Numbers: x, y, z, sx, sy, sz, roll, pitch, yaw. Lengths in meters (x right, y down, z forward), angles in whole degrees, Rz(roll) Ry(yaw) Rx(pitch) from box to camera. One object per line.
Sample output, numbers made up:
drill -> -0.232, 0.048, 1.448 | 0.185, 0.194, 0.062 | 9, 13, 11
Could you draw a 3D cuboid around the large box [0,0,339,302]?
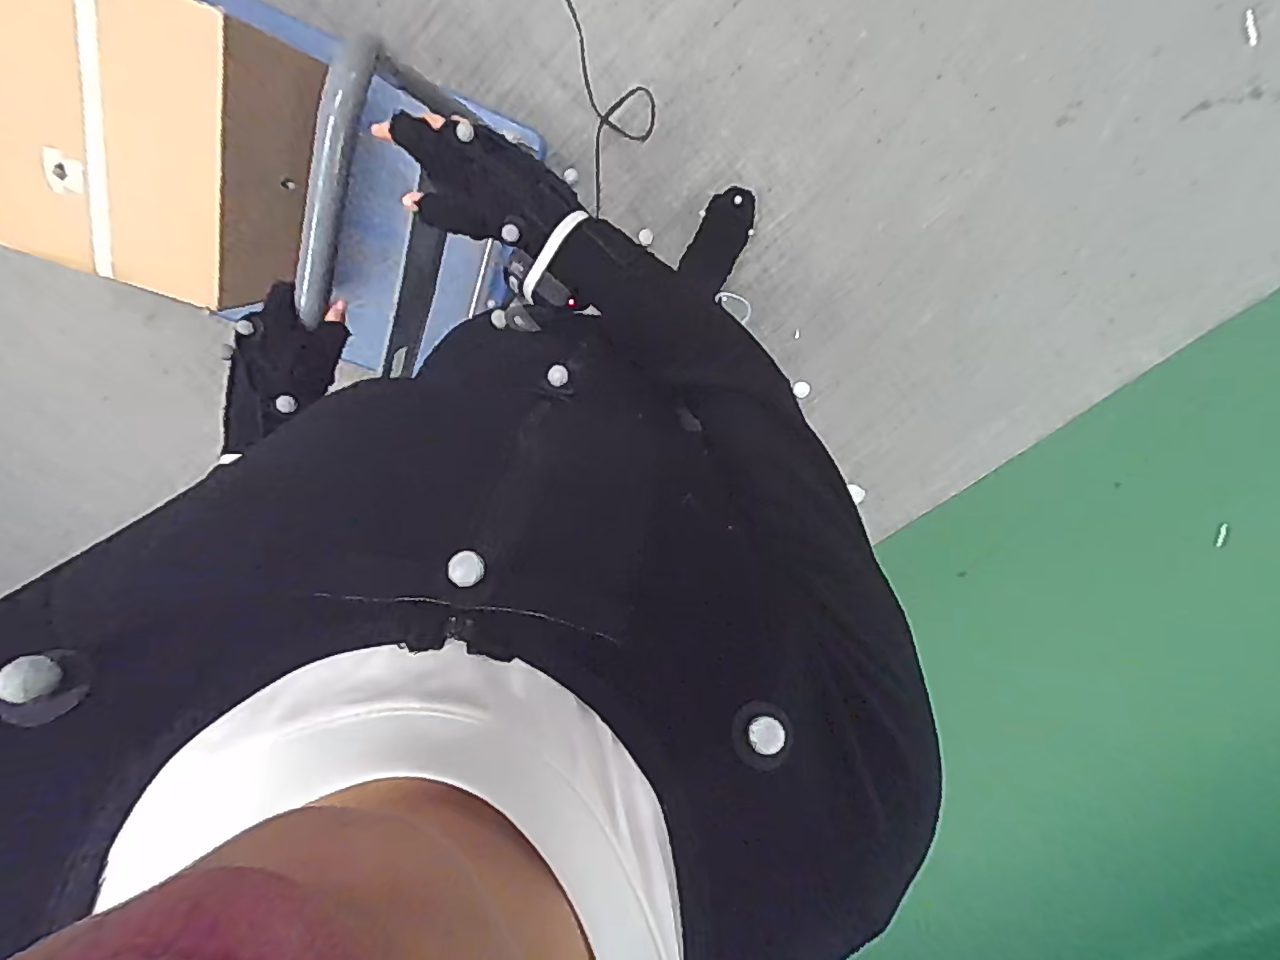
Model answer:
large box -> -0.734, -0.563, 0.891 | 0.320, 0.320, 0.408 | 17, 115, -10
